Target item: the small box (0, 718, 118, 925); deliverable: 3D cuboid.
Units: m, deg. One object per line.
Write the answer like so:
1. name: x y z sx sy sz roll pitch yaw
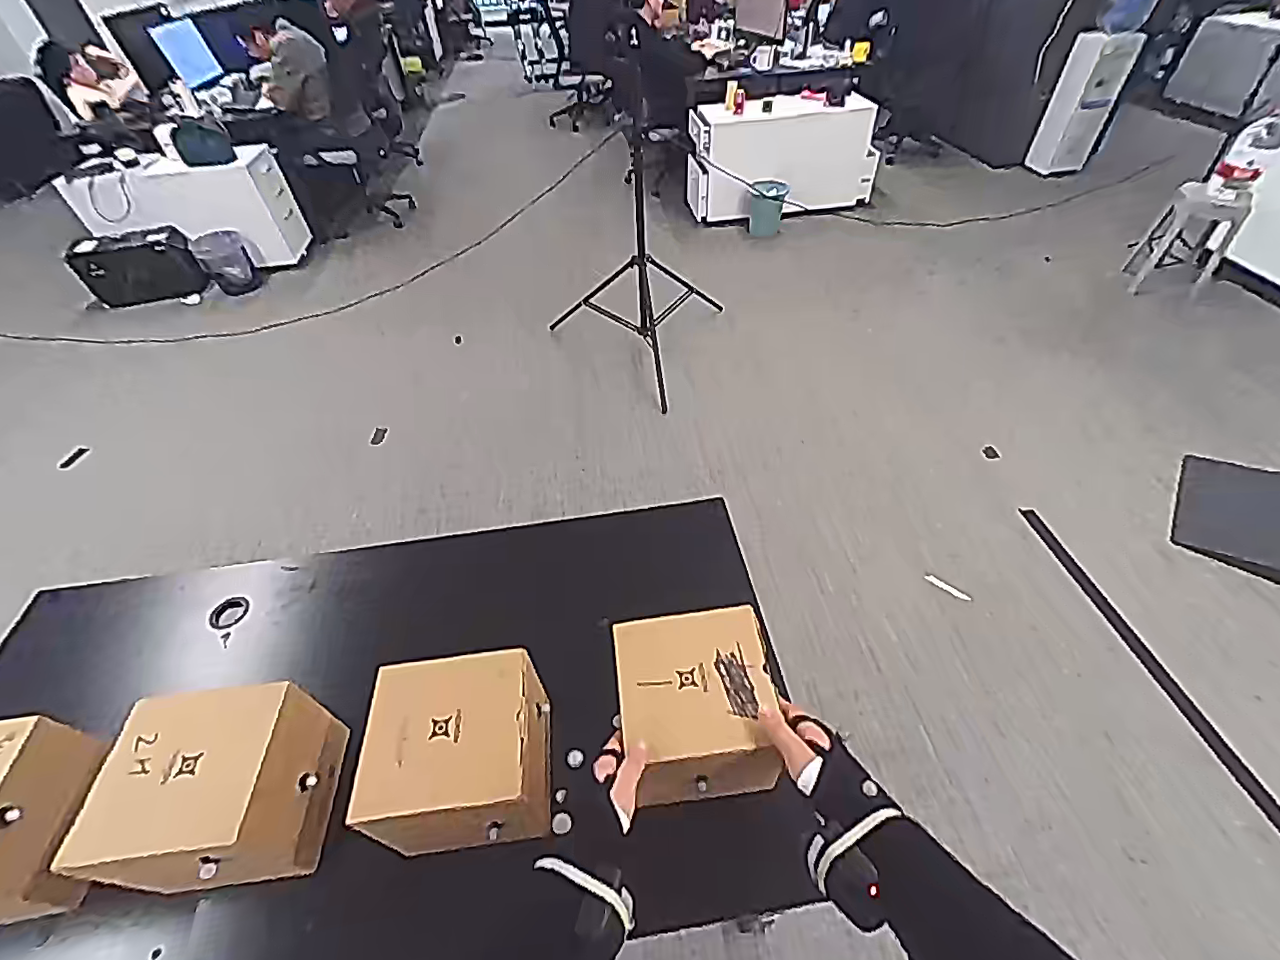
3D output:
1. small box: -0.751 0.401 0.620 0.179 0.176 0.168 -10 47 -5

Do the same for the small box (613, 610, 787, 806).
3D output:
1. small box: 0.065 0.284 0.671 0.179 0.176 0.168 -8 46 -1

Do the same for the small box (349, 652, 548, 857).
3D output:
1. small box: -0.209 0.332 0.651 0.179 0.176 0.168 -8 45 -3

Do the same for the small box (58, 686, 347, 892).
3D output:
1. small box: -0.480 0.364 0.636 0.179 0.176 0.168 -7 46 -2
